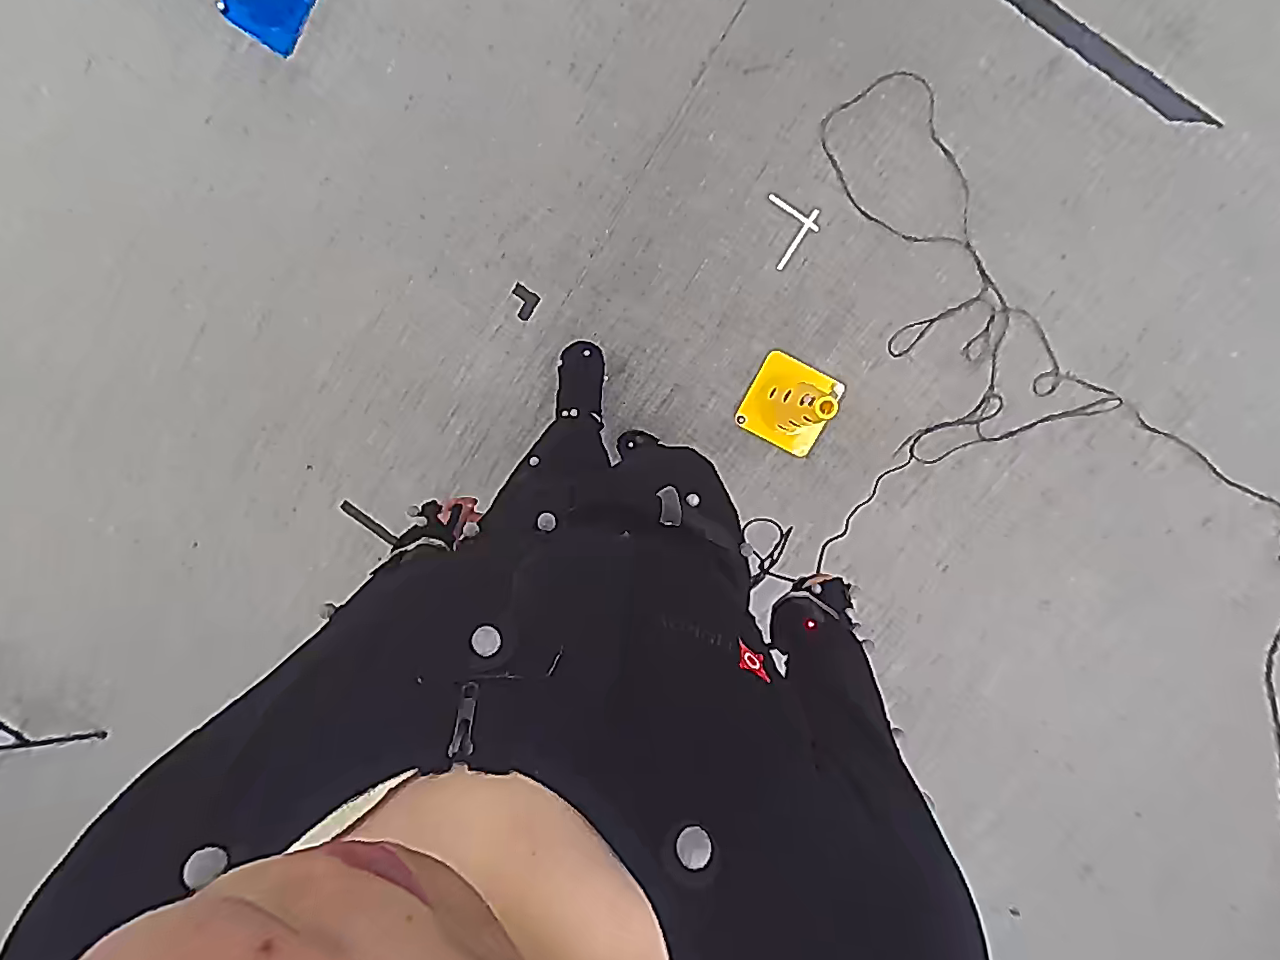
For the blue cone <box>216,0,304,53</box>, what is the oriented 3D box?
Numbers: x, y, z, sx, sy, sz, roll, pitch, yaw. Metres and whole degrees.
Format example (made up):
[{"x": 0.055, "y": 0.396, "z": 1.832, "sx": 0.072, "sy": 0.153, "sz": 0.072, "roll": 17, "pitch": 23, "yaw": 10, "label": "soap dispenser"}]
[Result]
[{"x": -0.884, "y": -1.086, "z": 1.083, "sx": 0.193, "sy": 0.380, "sz": 0.192, "roll": 35, "pitch": 101, "yaw": -1, "label": "blue cone"}]
